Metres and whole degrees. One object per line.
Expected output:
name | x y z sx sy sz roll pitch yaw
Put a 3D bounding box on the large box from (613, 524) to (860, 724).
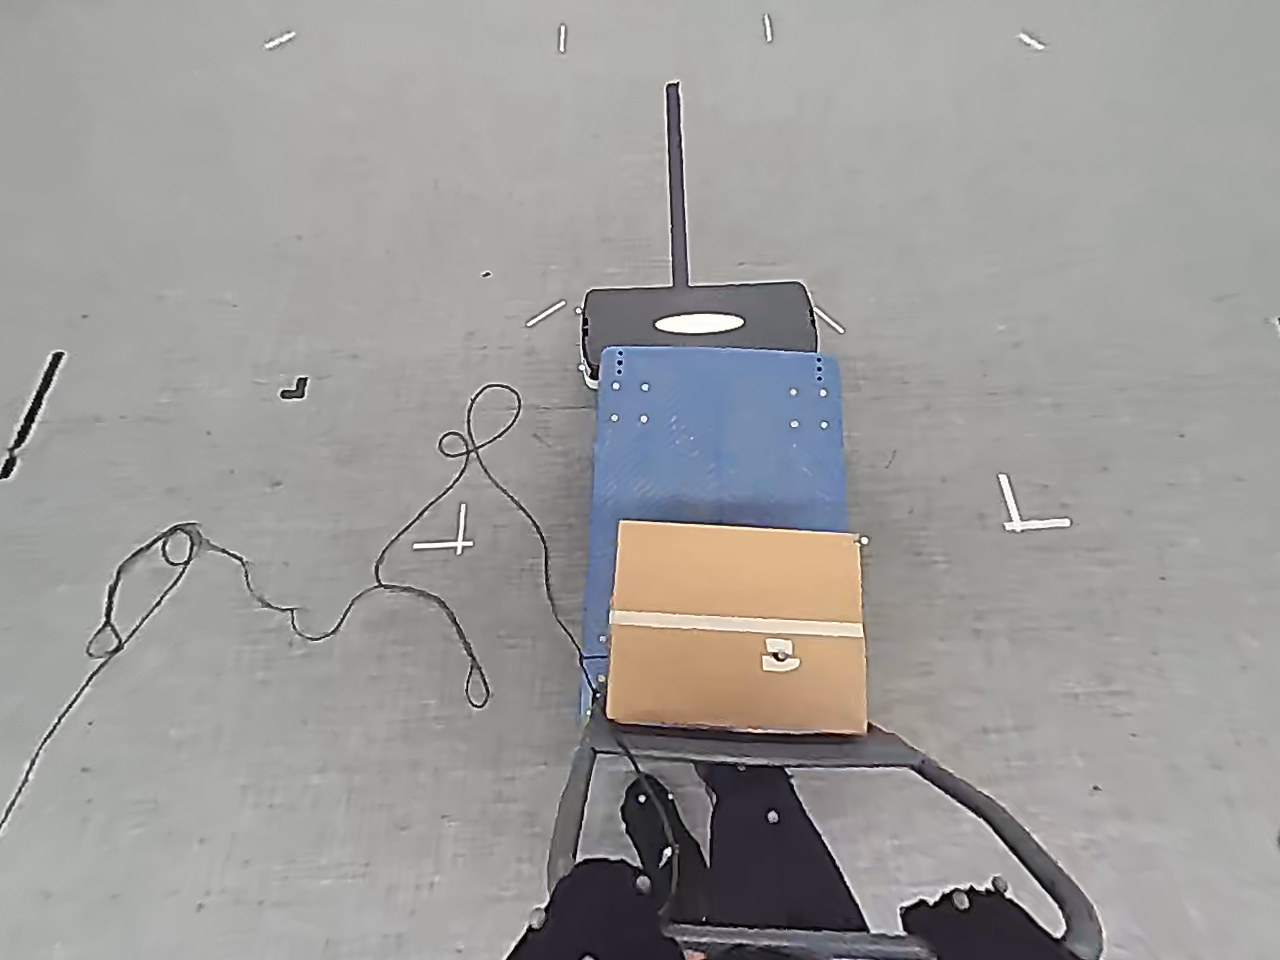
large box | 0.155 0.268 1.037 0.408 0.320 0.320 3 77 0
